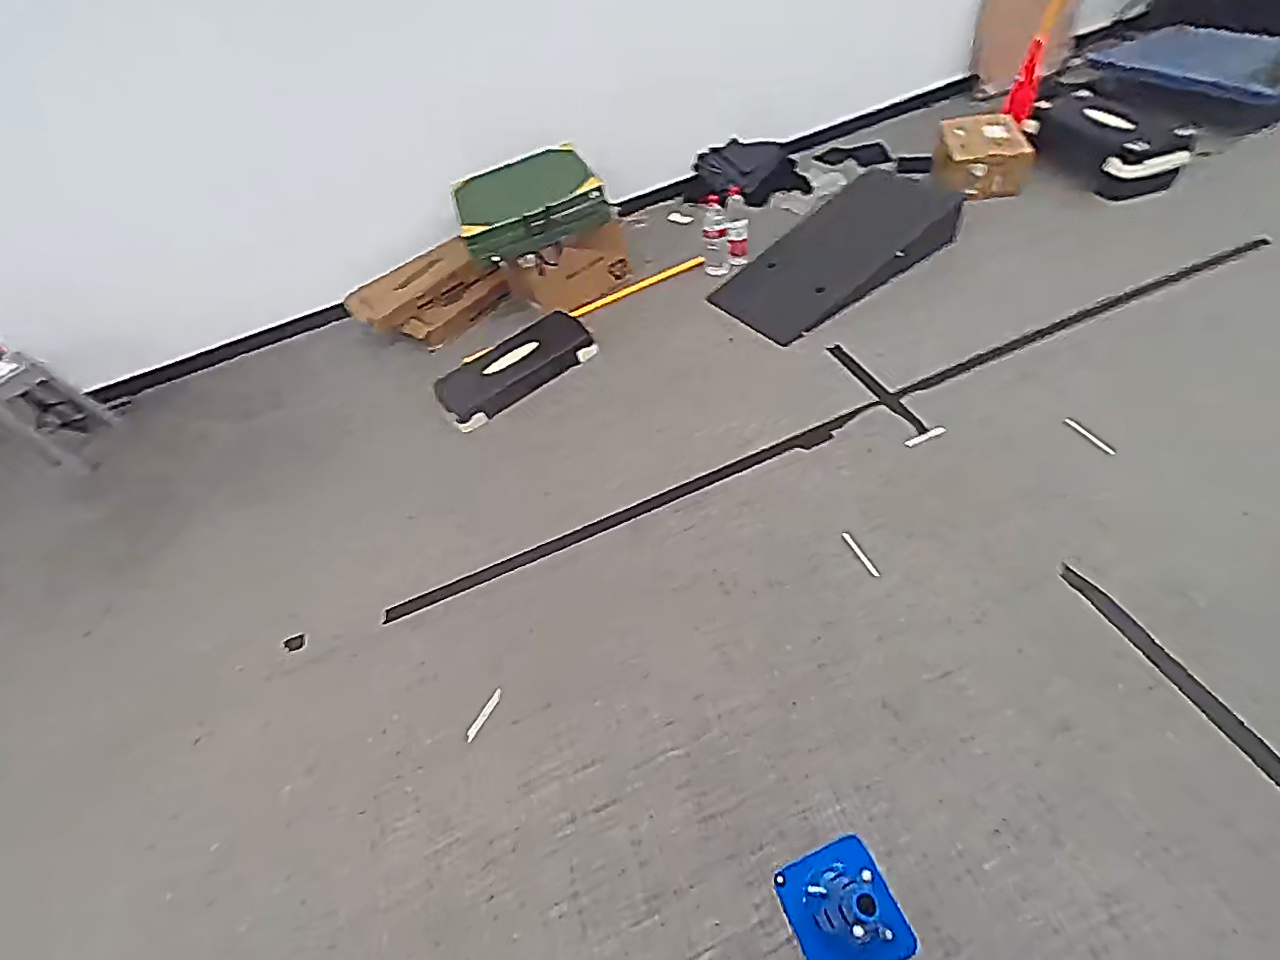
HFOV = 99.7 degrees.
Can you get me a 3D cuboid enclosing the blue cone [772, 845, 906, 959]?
[{"bbox_3d":[0.340,0.716,0.892,0.192,0.380,0.193,-23,49,-4],"label":"blue cone"}]
